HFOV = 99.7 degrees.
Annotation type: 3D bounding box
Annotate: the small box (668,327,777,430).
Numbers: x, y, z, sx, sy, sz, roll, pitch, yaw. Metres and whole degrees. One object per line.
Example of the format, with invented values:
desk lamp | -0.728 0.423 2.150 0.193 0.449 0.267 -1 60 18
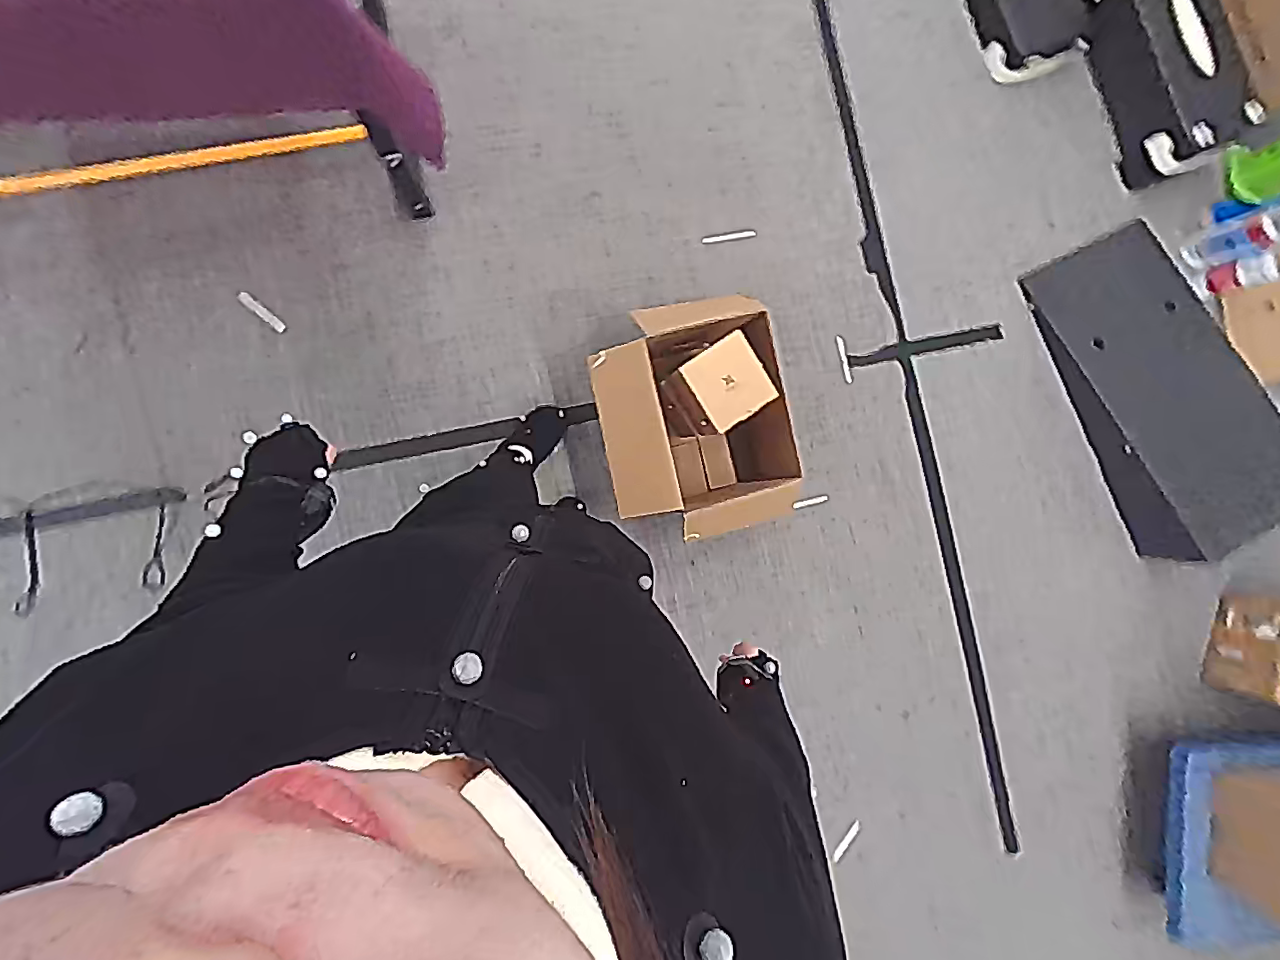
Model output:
small box | 0.185 -0.230 1.277 0.168 0.176 0.179 -34 98 -4
